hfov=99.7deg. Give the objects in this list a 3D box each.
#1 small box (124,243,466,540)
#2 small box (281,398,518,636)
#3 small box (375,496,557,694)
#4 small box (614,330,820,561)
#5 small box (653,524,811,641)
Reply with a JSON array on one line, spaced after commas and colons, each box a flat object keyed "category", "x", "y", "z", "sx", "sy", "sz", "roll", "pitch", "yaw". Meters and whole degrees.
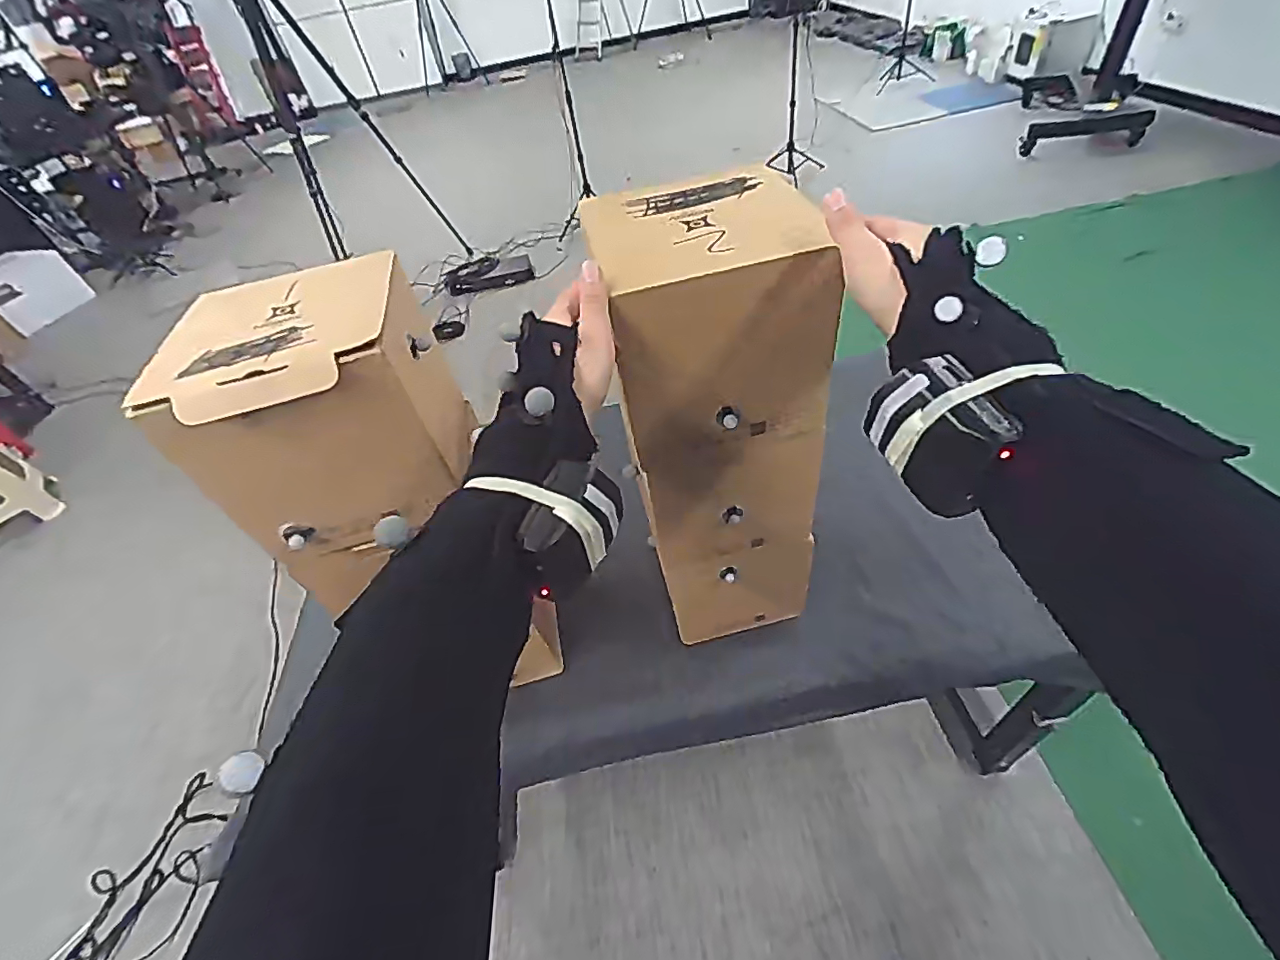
[{"category": "small box", "x": -0.255, "y": -0.069, "z": 0.458, "sx": 0.168, "sy": 0.176, "sz": 0.179, "roll": -15, "pitch": 45, "yaw": -6}, {"category": "small box", "x": -0.235, "y": 0.045, "z": 0.576, "sx": 0.168, "sy": 0.176, "sz": 0.179, "roll": -15, "pitch": 45, "yaw": -5}, {"category": "small box", "x": -0.211, "y": 0.154, "z": 0.693, "sx": 0.168, "sy": 0.176, "sz": 0.179, "roll": -15, "pitch": 46, "yaw": -4}, {"category": "small box", "x": 0.077, "y": -0.031, "z": 0.584, "sx": 0.168, "sy": 0.176, "sz": 0.179, "roll": -13, "pitch": 46, "yaw": -3}, {"category": "small box", "x": 0.104, "y": 0.079, "z": 0.705, "sx": 0.168, "sy": 0.176, "sz": 0.179, "roll": -14, "pitch": 46, "yaw": -2}]
